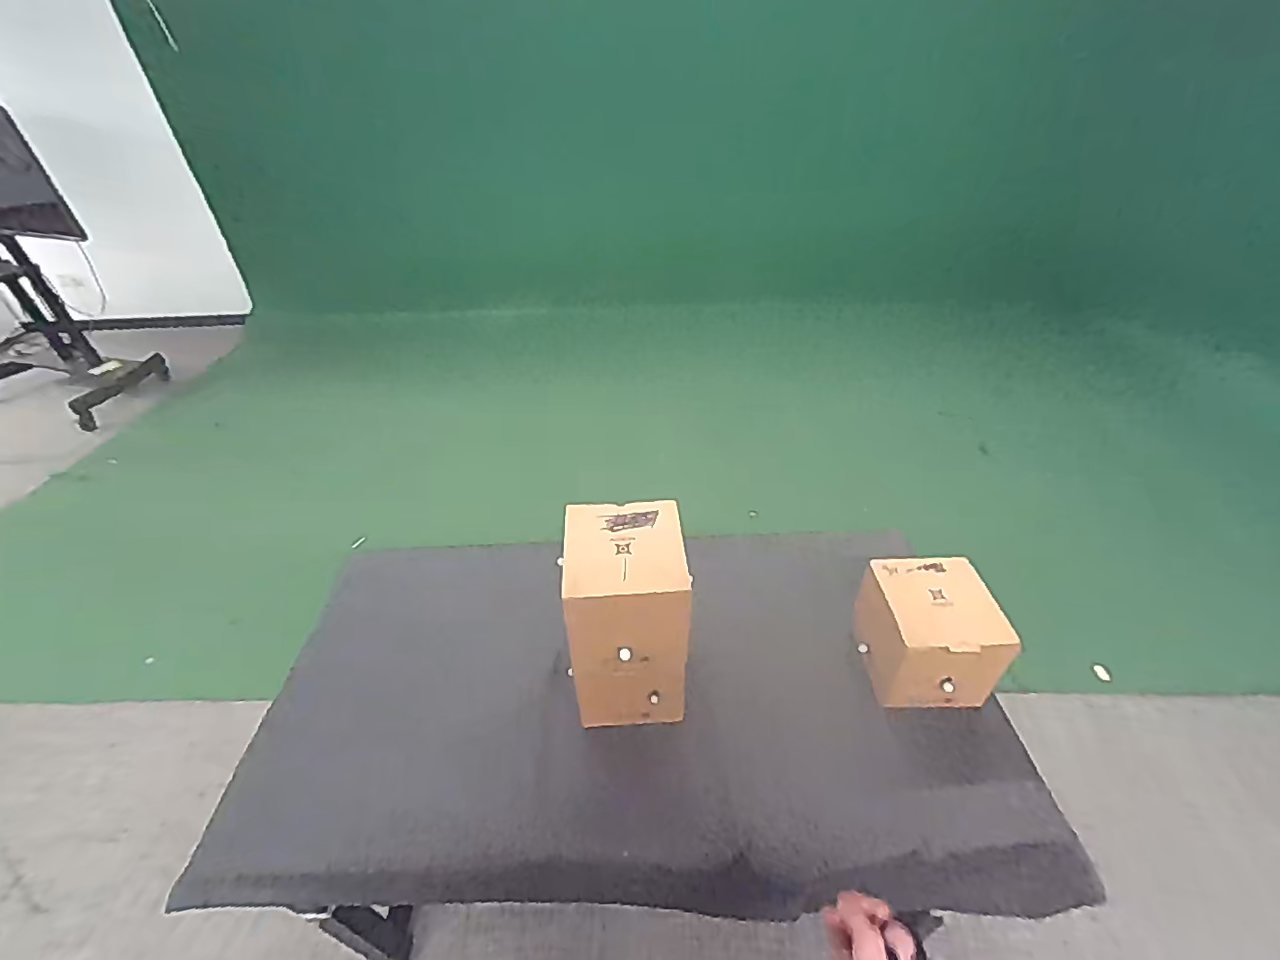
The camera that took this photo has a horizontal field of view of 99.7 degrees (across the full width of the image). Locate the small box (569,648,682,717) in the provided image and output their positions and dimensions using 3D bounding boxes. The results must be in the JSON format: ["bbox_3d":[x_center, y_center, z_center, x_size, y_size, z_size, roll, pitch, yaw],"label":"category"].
[{"bbox_3d":[-0.022,0.269,0.880,0.168,0.176,0.179,-2,37,-2],"label":"small box"}]

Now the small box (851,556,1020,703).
[{"bbox_3d":[0.465,0.246,0.883,0.168,0.176,0.179,-1,39,2],"label":"small box"}]

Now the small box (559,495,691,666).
[{"bbox_3d":[-0.022,0.142,0.776,0.168,0.176,0.179,-3,40,-2],"label":"small box"}]
